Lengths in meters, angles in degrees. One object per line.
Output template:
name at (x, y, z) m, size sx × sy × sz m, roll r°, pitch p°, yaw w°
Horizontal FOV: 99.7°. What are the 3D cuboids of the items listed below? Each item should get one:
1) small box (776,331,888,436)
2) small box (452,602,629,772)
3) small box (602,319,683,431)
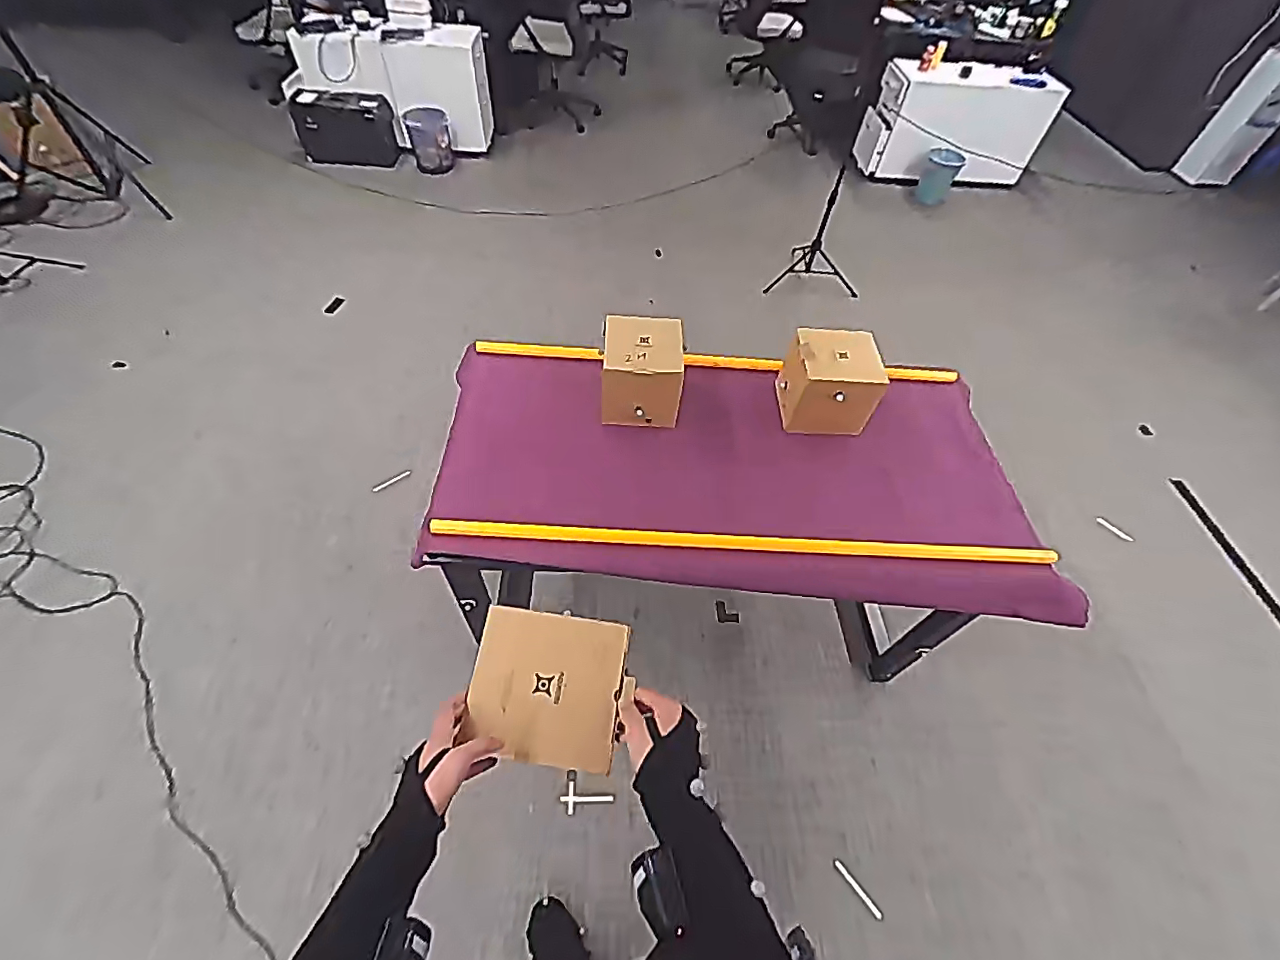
small box at (0.425, -0.214, 1.226) m, size 0.179 × 0.176 × 0.168 m, roll 2°, pitch 54°, yaw -2°
small box at (-0.116, 0.268, 0.699) m, size 0.179 × 0.176 × 0.168 m, roll 9°, pitch 64°, yaw 0°
small box at (0.003, -0.233, 1.204) m, size 0.168 × 0.176 × 0.179 m, roll 2°, pitch 54°, yaw -2°
